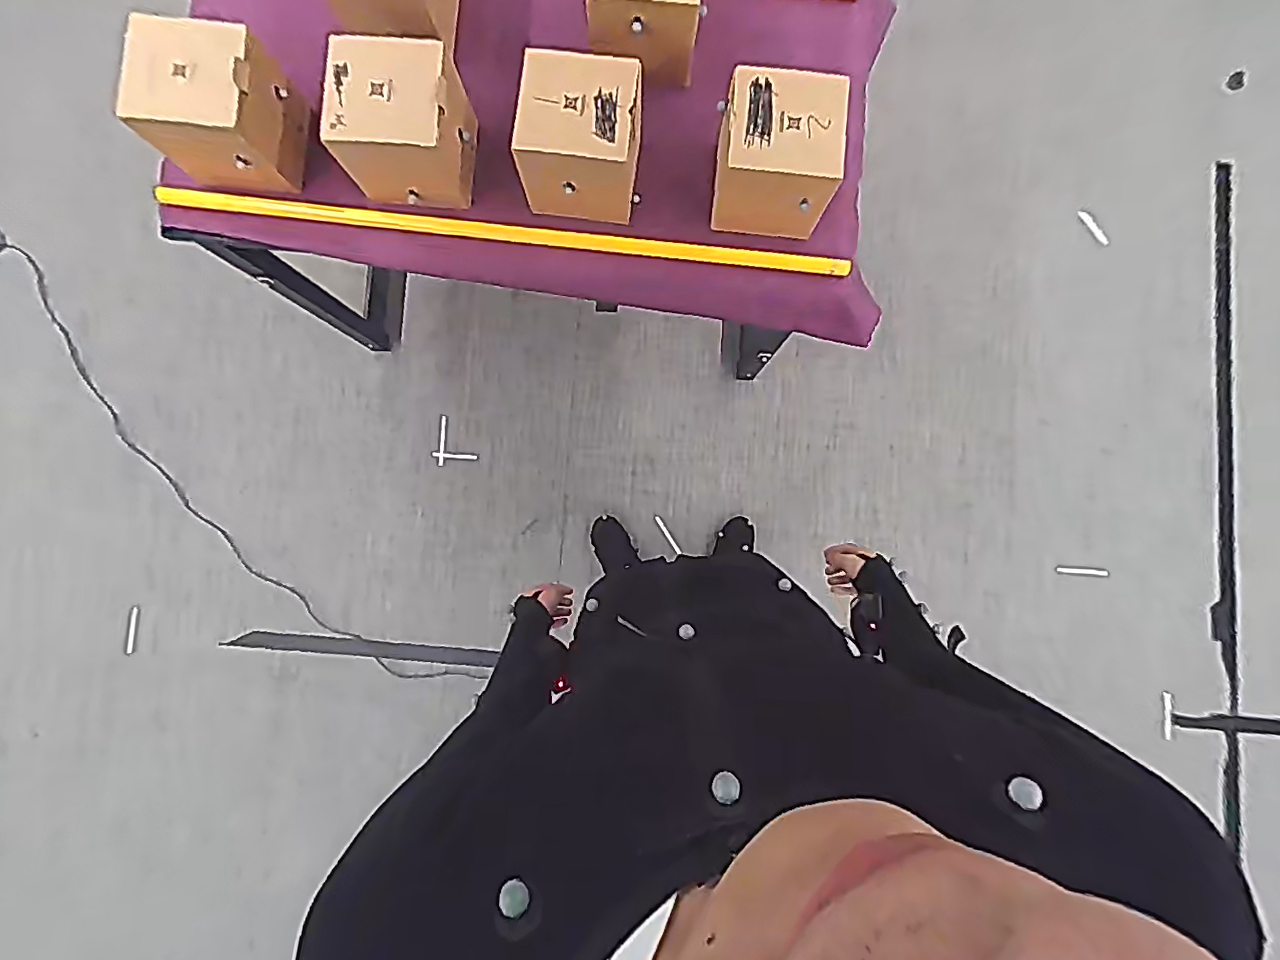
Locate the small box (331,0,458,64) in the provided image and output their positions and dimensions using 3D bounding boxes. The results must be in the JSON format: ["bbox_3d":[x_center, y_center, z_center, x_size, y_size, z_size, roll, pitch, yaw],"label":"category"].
[{"bbox_3d":[-0.414,-0.836,0.899,0.168,0.176,0.179,5,88,0],"label":"small box"}]

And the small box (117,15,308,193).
[{"bbox_3d":[-0.677,-0.595,0.879,0.179,0.176,0.168,4,86,-3],"label":"small box"}]

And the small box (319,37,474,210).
[{"bbox_3d":[-0.383,-0.567,0.882,0.179,0.176,0.168,4,86,-1],"label":"small box"}]

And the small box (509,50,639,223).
[{"bbox_3d":[-0.098,-0.546,0.883,0.179,0.176,0.168,7,85,1],"label":"small box"}]

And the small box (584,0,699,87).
[{"bbox_3d":[0.008,-0.798,0.901,0.179,0.176,0.168,5,87,1],"label":"small box"}]
